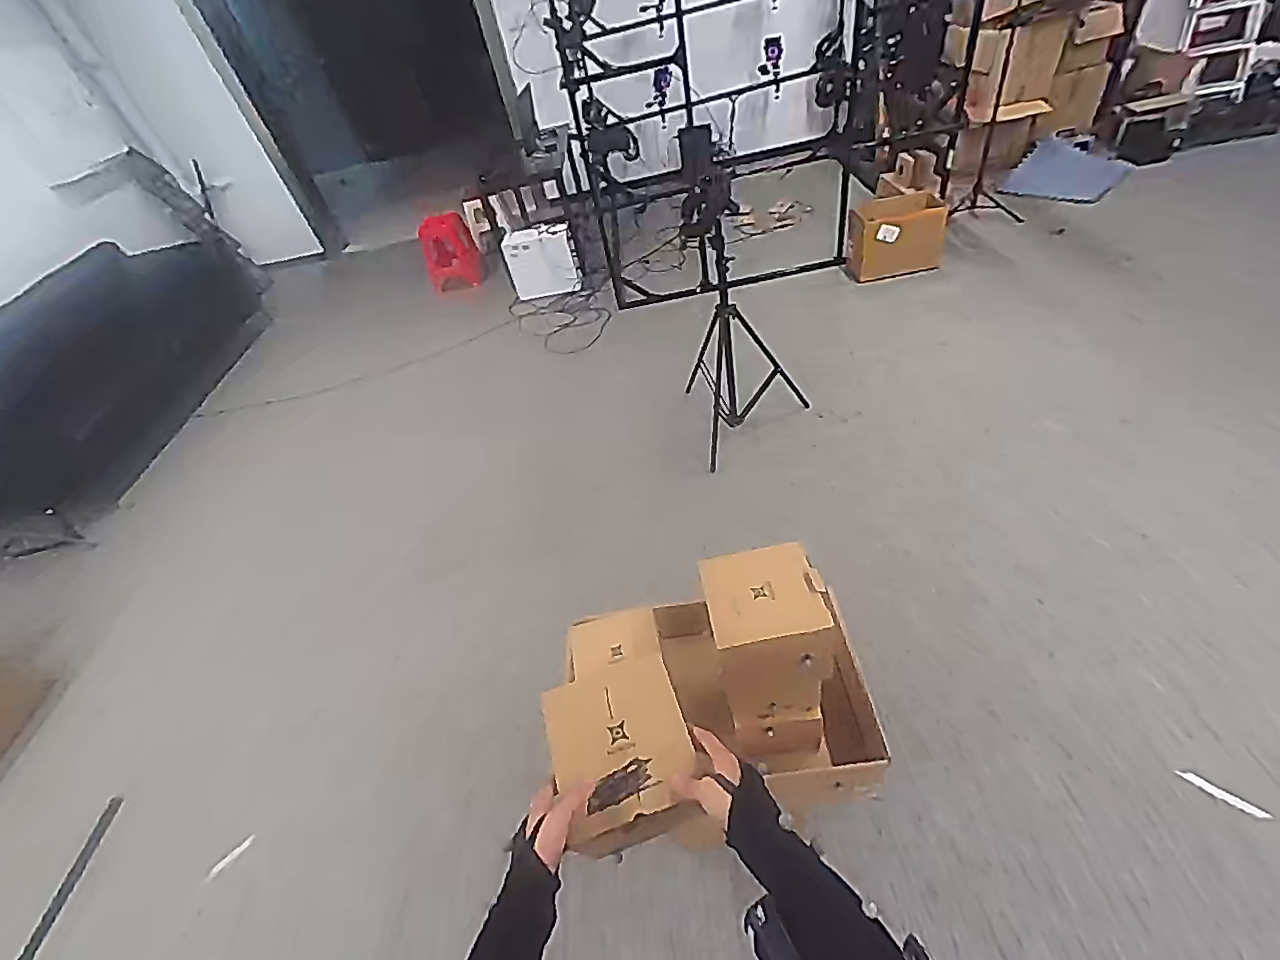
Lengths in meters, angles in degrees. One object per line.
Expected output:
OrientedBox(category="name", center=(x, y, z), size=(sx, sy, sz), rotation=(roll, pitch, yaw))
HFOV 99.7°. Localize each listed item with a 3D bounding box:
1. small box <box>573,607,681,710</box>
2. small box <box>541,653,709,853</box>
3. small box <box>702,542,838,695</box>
OrientedBox(category="small box", center=(-0.023, 0.378, 1.042), size=(0.168, 0.176, 0.179), rotation=(-15, 44, 1))
OrientedBox(category="small box", center=(-0.015, 0.360, 0.702), size=(0.168, 0.176, 0.179), rotation=(-18, 50, -6))
OrientedBox(category="small box", center=(0.207, 0.230, 0.888), size=(0.179, 0.176, 0.168), rotation=(-12, 43, 4))
